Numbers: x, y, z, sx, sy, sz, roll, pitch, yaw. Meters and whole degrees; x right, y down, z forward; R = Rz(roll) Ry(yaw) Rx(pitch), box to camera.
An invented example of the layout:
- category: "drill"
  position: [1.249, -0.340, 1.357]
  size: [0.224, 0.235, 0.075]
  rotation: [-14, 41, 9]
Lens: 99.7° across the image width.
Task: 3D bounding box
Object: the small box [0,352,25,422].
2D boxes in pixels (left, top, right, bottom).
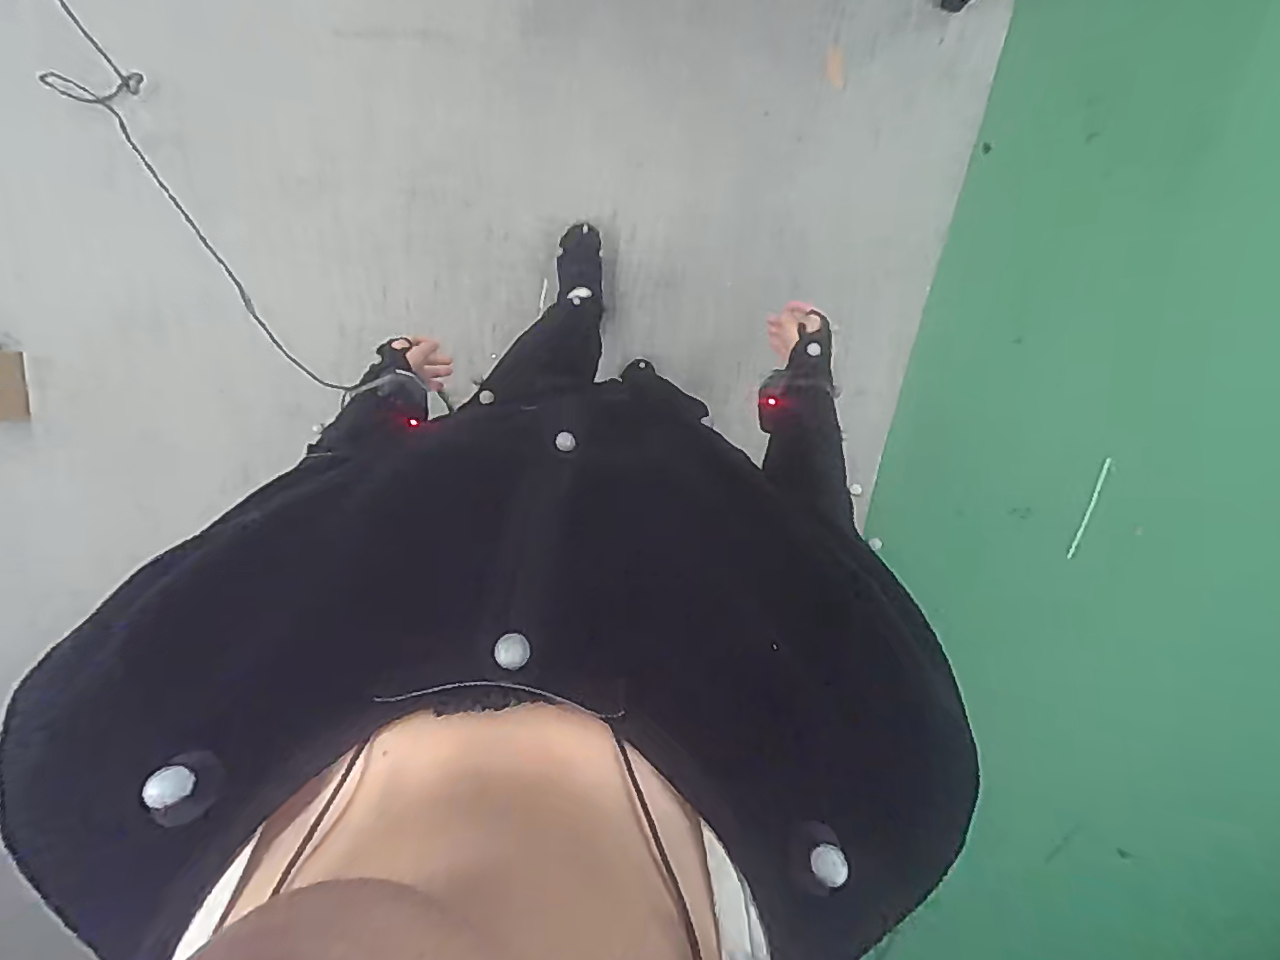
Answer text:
- category: "small box"
  position: [-1.677, -0.235, 1.317]
  size: [0.168, 0.176, 0.179]
  rotation: [9, 105, -4]
